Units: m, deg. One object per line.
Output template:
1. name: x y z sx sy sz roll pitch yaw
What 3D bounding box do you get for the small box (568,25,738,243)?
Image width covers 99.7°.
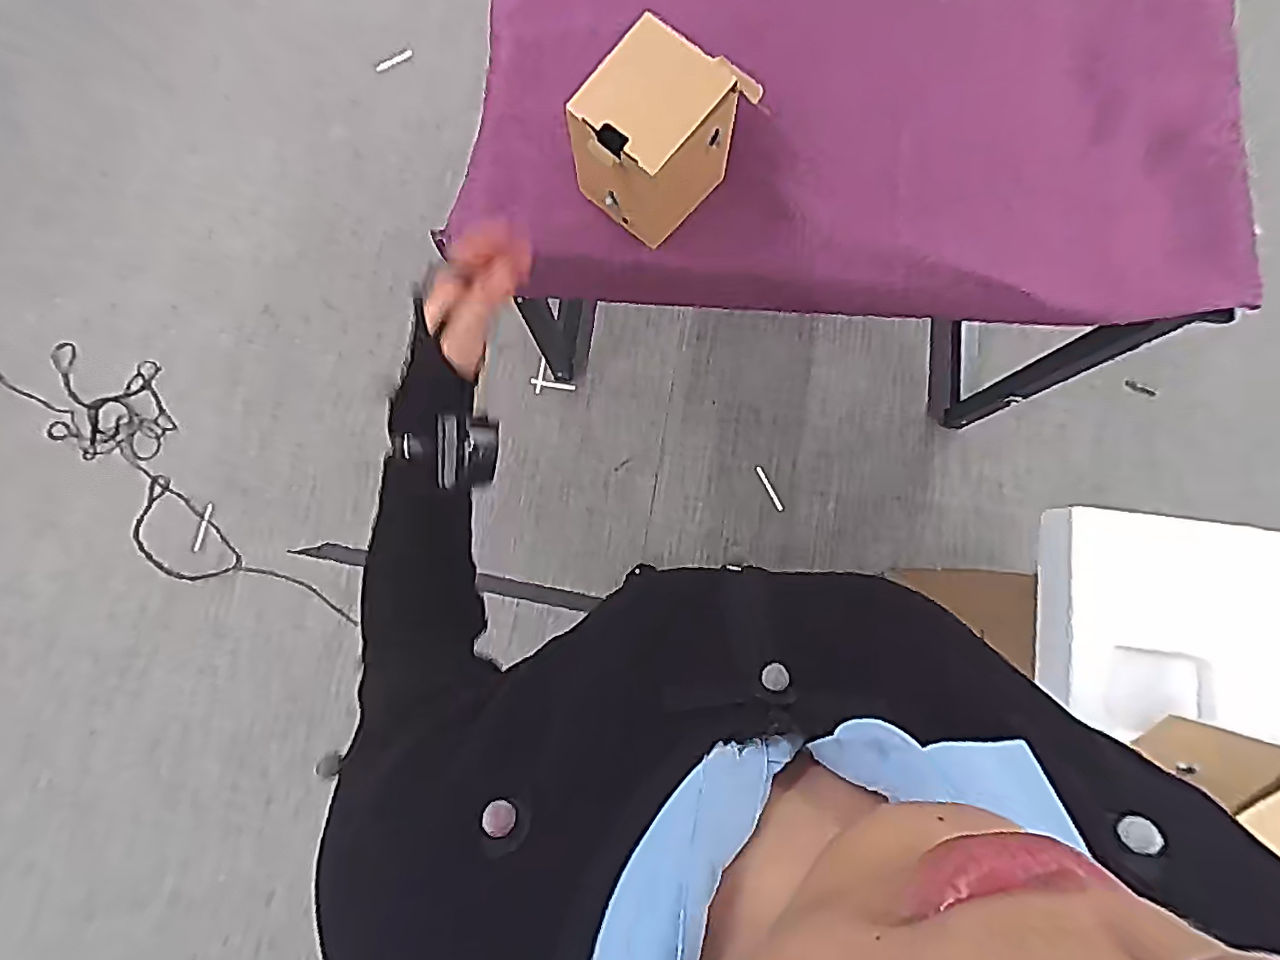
1. small box: 0.018 -0.504 0.809 0.168 0.176 0.179 41 84 8
